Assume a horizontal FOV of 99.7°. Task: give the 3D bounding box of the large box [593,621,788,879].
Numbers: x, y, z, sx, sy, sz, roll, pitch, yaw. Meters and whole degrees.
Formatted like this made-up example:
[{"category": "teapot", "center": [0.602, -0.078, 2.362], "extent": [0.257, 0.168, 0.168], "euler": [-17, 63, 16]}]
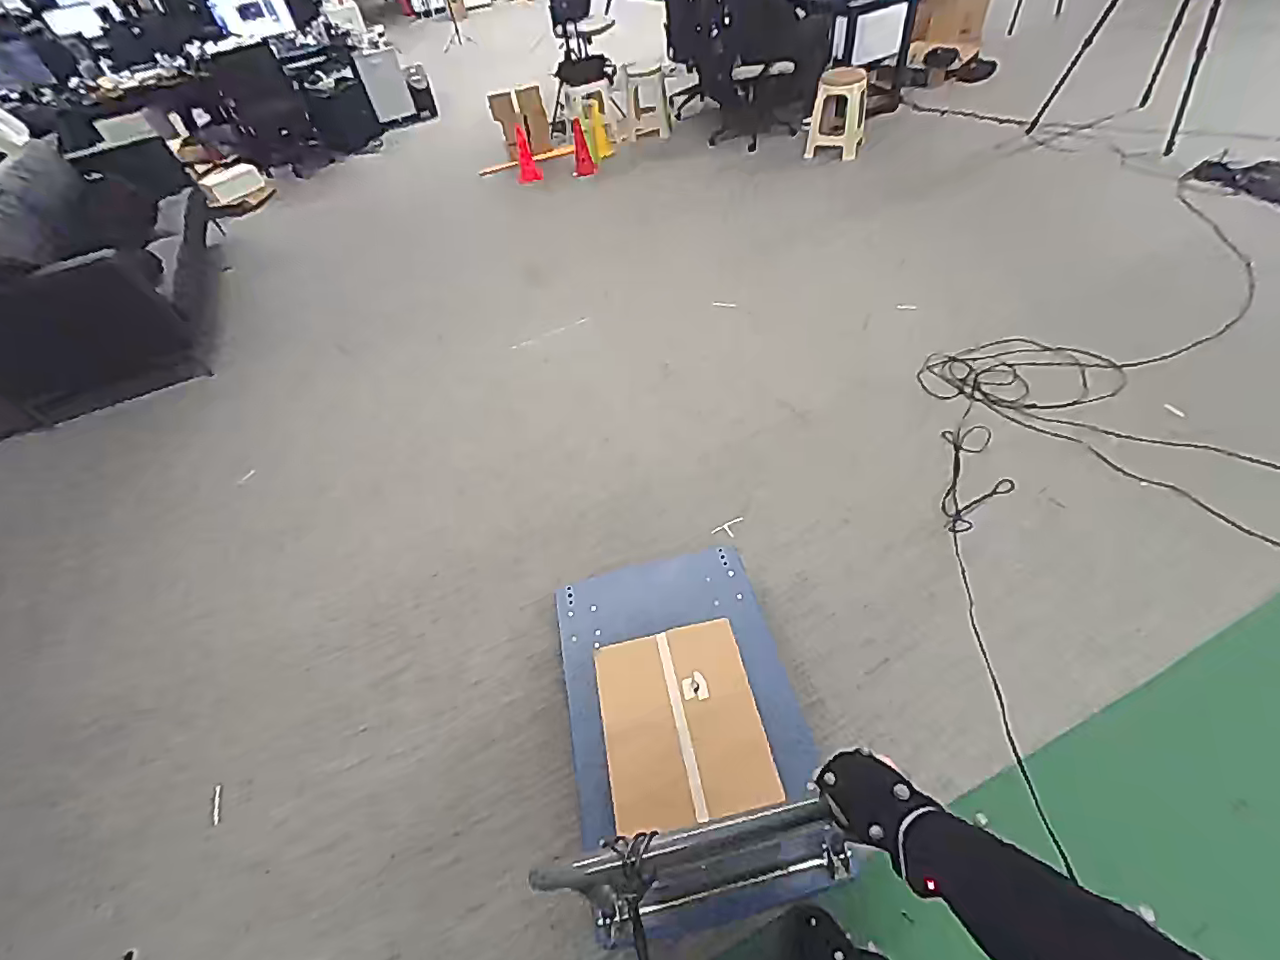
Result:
[{"category": "large box", "center": [0.101, 0.593, 1.199], "extent": [0.320, 0.320, 0.408], "euler": [-13, 48, -2]}]
